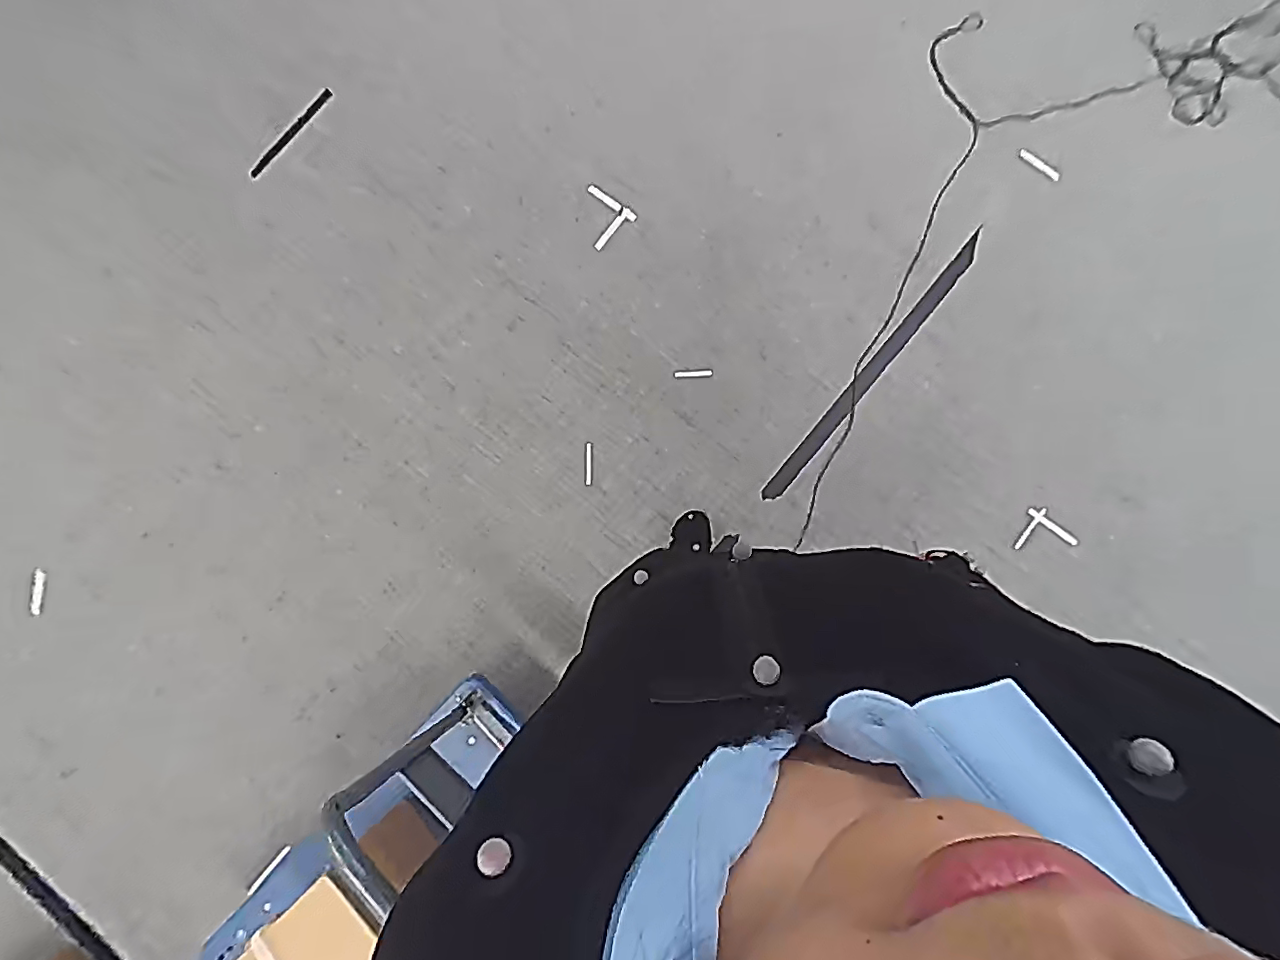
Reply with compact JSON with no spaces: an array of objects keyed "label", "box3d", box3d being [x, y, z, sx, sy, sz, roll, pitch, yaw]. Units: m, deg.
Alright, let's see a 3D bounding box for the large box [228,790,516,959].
[{"label":"large box","box3d":[-0.524,0.943,1.091,0.320,0.320,0.408,-44,84,-4]}]
